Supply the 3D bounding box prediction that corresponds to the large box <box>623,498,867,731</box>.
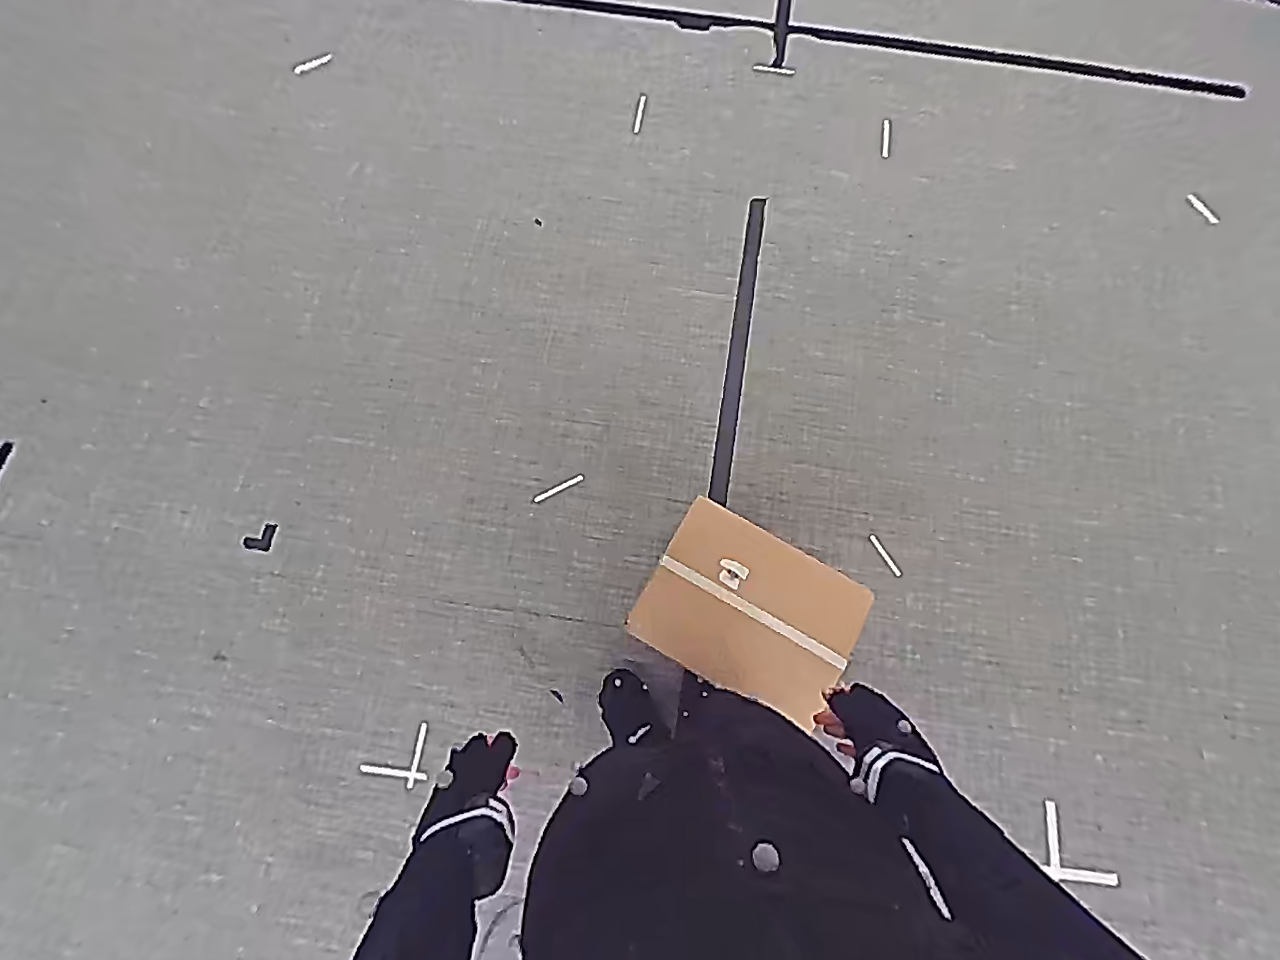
[{"bbox_3d":[0.212,0.293,1.213,0.408,0.320,0.320,29,77,7],"label":"large box"}]
